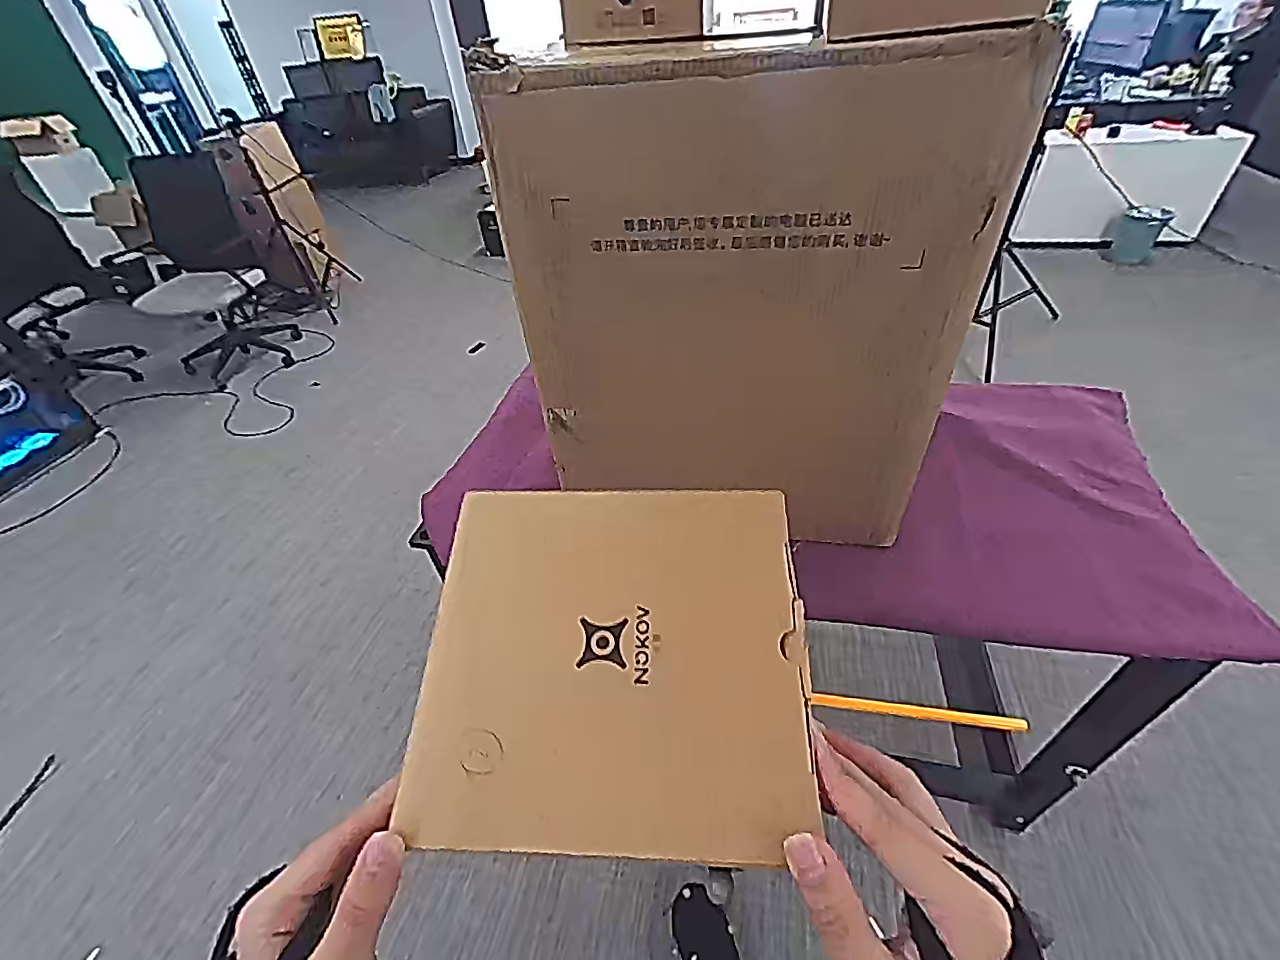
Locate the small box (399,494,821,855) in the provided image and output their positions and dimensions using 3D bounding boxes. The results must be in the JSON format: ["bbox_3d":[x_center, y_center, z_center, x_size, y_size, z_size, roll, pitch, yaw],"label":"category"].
[{"bbox_3d":[-0.007,0.121,0.326,0.179,0.176,0.168,0,58,3],"label":"small box"}]

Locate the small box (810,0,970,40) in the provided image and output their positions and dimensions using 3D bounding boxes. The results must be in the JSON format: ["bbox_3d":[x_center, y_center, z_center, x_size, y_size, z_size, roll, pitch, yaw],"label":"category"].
[{"bbox_3d":[0.286,-0.613,0.611,0.168,0.176,0.179,4,42,13],"label":"small box"}]
